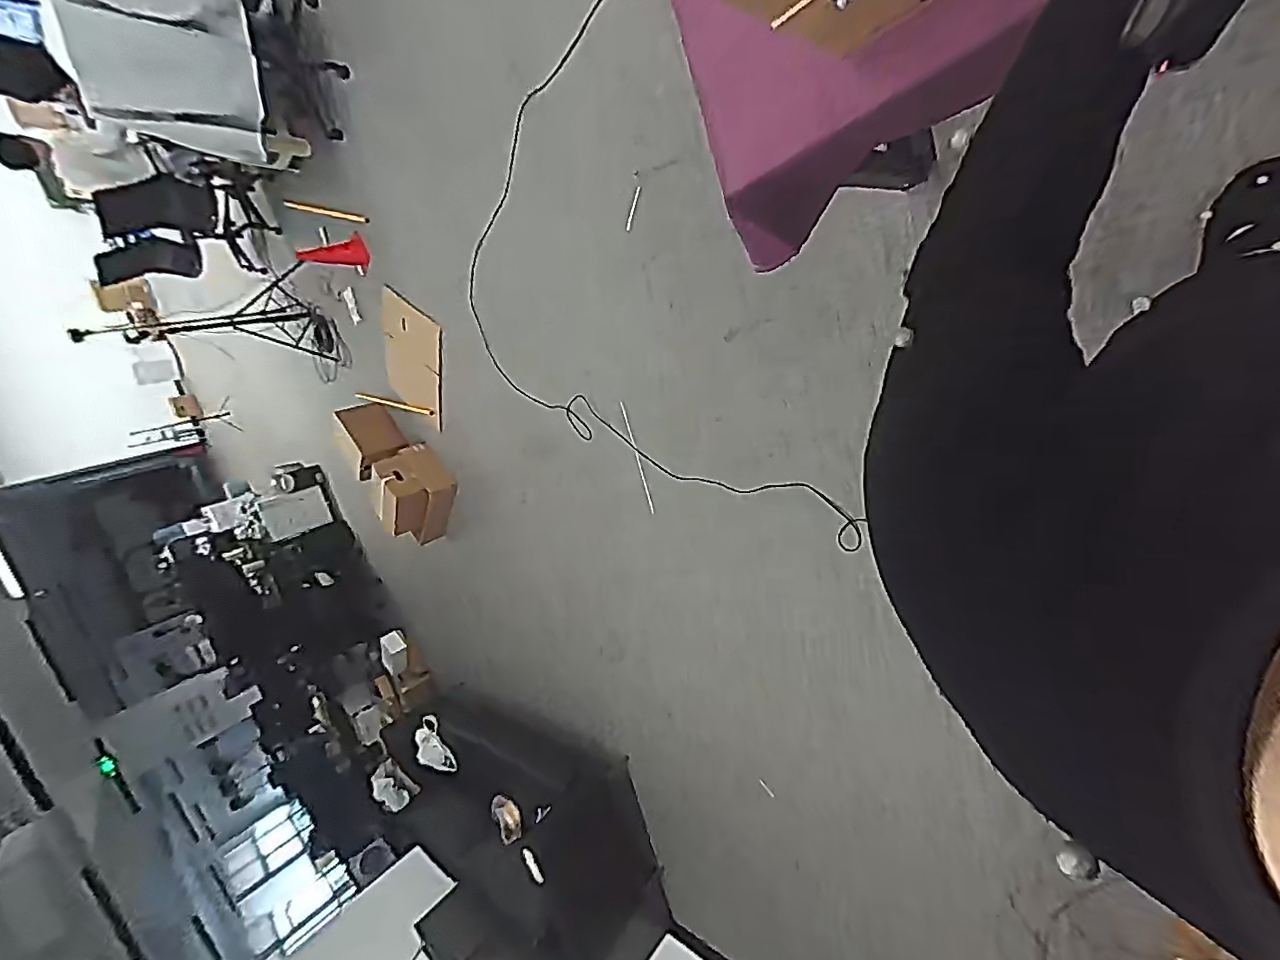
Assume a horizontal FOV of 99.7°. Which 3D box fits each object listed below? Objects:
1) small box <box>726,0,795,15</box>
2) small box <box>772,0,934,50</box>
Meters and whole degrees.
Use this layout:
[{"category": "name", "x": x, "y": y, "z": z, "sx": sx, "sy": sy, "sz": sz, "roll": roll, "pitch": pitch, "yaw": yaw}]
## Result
[{"category": "small box", "x": 0.116, "y": -0.520, "z": 0.421, "sx": 0.179, "sy": 0.176, "sz": 0.168, "roll": -1, "pitch": 108, "yaw": 46}, {"category": "small box", "x": 0.226, "y": -0.575, "z": 0.530, "sx": 0.168, "sy": 0.176, "sz": 0.179, "roll": -3, "pitch": 107, "yaw": 47}]
